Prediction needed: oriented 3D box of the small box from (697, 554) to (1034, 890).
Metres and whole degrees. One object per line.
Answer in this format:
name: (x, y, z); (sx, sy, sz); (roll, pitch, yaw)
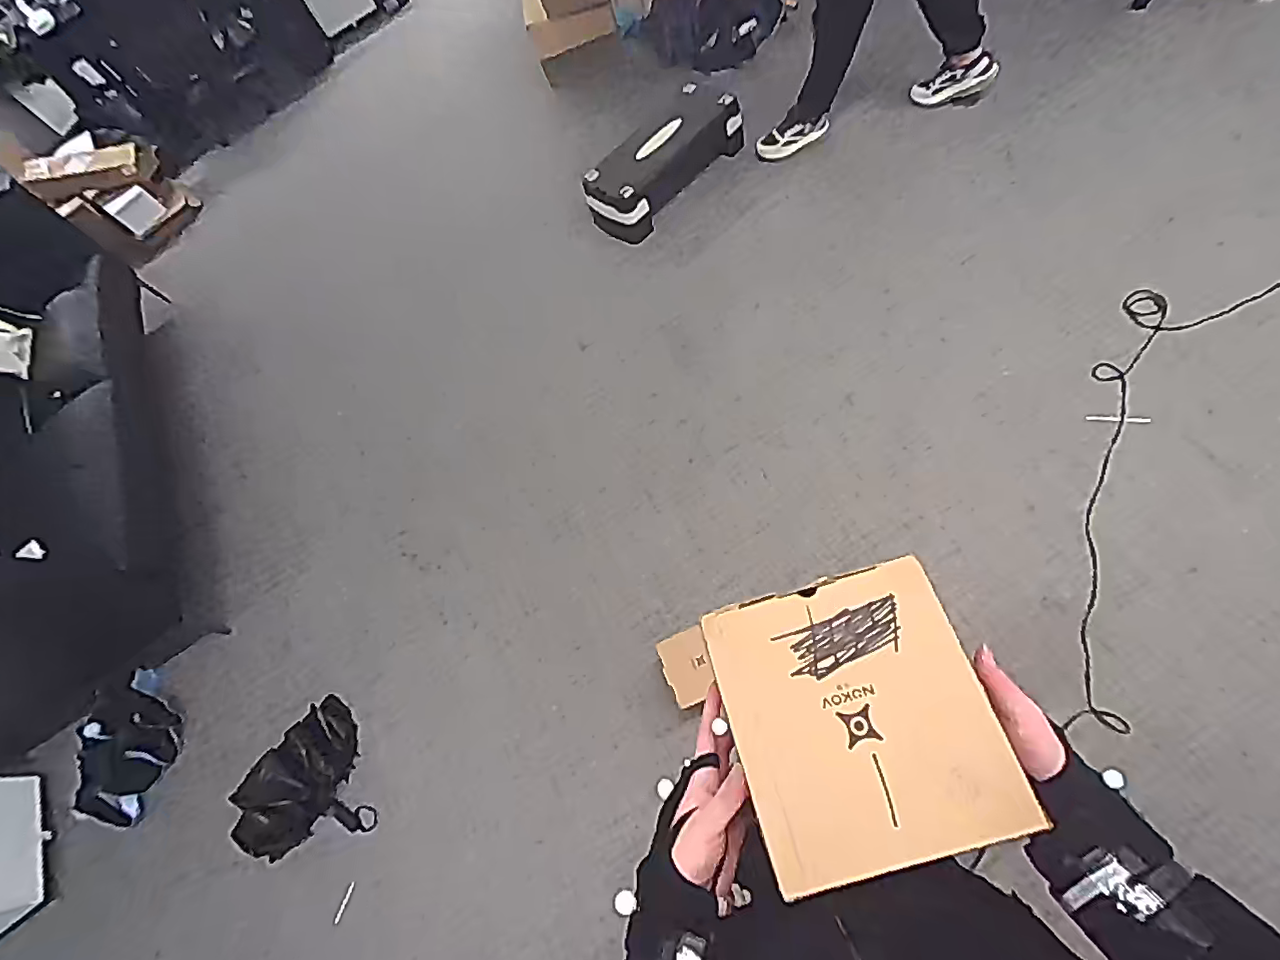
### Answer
small box: (0.149, 0.181, 0.431); (0.168, 0.176, 0.179); (-17, 66, 2)

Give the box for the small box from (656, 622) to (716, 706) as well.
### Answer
small box: (0.165, 0.462, 1.374); (0.179, 0.176, 0.168); (-27, 62, 2)
